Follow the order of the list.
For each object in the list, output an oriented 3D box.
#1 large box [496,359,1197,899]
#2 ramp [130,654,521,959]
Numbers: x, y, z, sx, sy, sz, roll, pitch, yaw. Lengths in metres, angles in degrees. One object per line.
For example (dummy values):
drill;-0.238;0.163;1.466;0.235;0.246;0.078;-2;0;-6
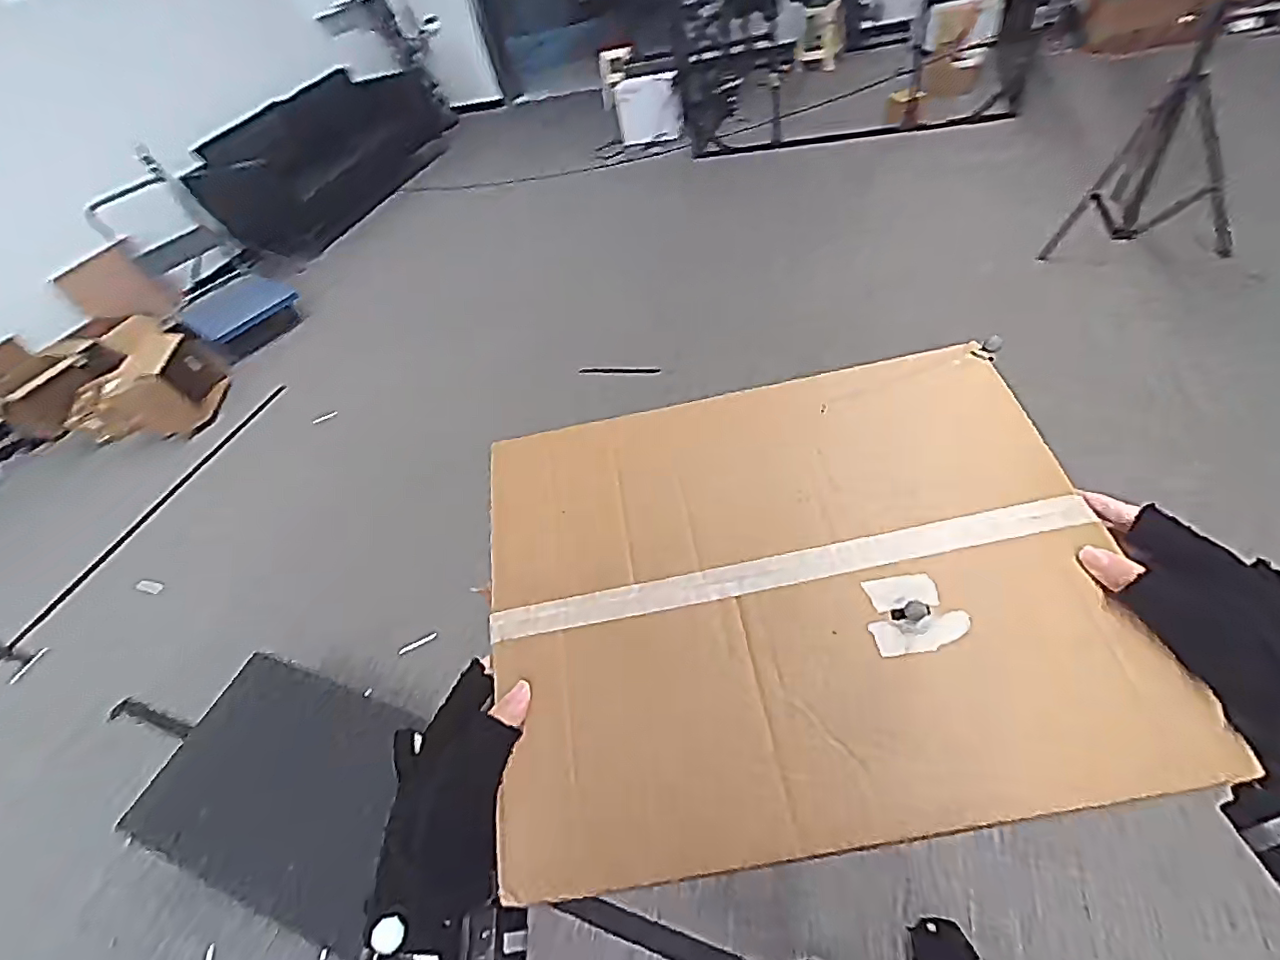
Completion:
large box;0.114;0.143;0.510;0.408;0.320;0.320;-13;60;1
ramp;-0.746;0.827;1.387;0.991;0.206;0.509;6;51;21
